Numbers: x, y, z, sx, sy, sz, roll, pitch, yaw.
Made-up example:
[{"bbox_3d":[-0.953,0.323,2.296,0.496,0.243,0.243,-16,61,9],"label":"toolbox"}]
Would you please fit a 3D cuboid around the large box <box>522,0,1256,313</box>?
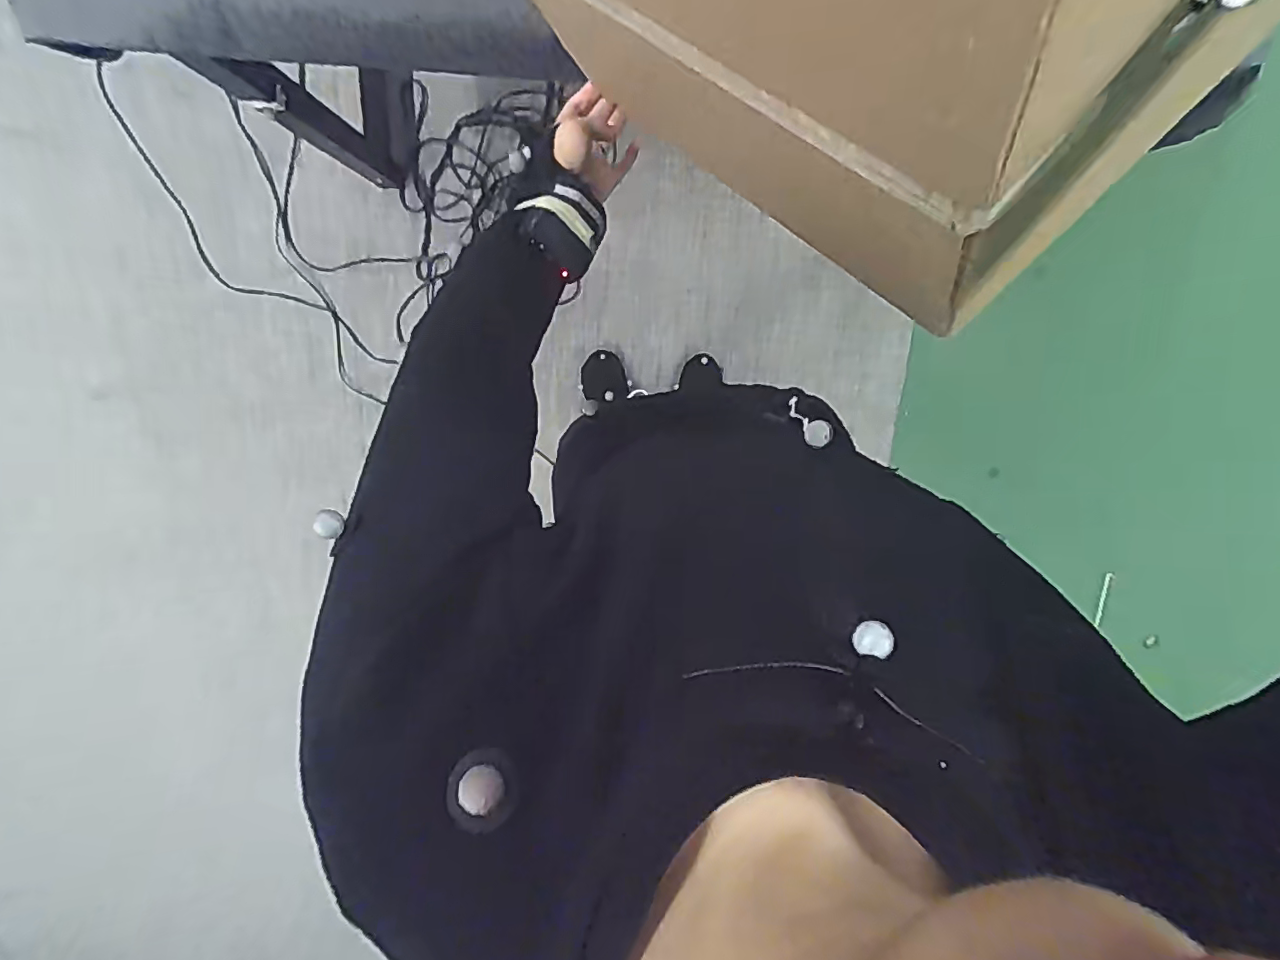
[{"bbox_3d":[0.118,-0.359,0.270,0.408,0.320,0.320,45,103,21],"label":"large box"}]
